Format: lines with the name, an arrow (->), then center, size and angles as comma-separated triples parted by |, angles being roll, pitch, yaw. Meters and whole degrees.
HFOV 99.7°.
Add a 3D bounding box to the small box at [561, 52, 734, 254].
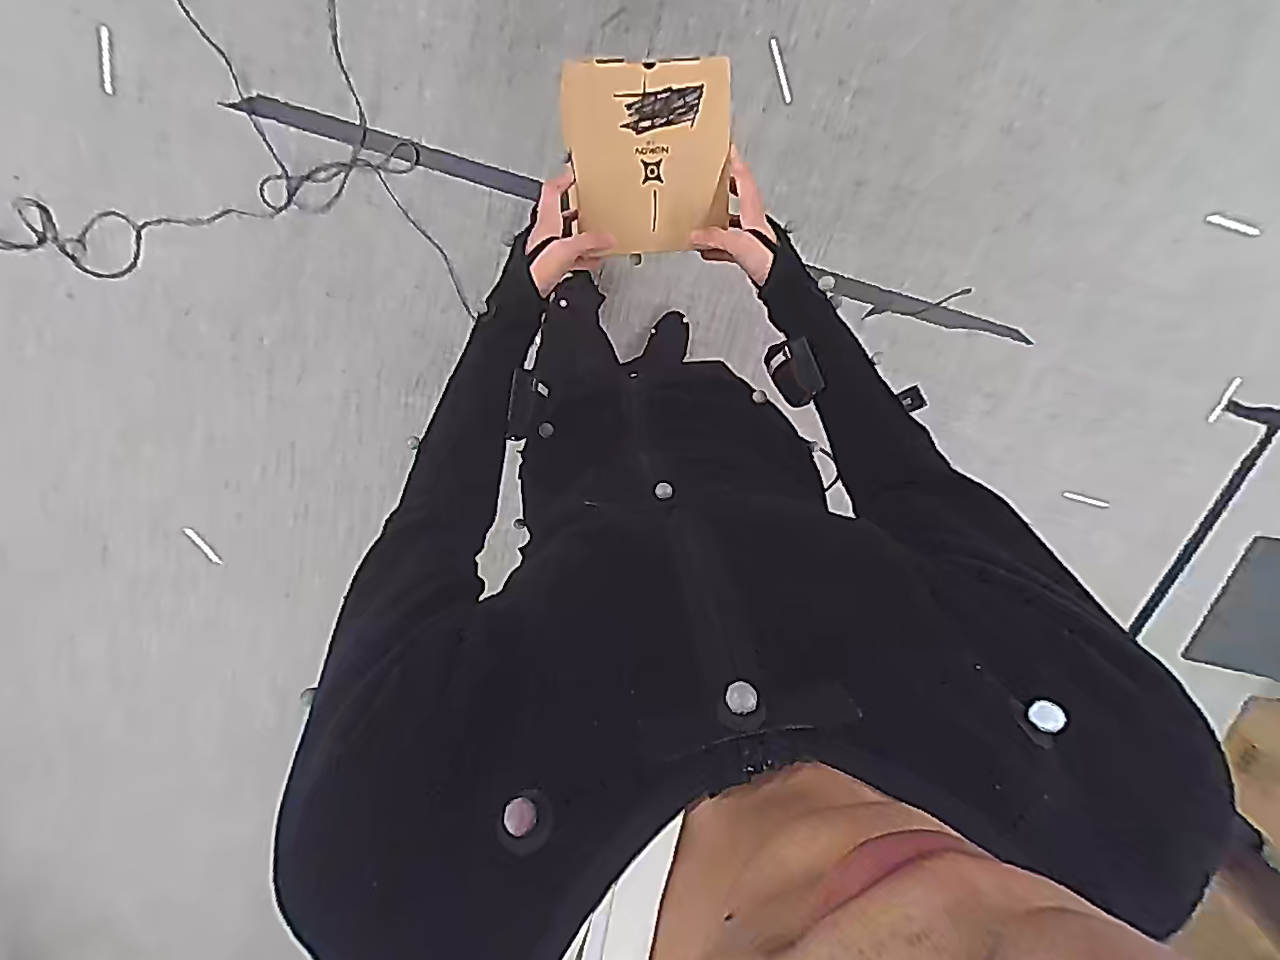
small box -> 0.001, -0.358, 0.620 | 0.168, 0.176, 0.179 | -6, 115, -7
